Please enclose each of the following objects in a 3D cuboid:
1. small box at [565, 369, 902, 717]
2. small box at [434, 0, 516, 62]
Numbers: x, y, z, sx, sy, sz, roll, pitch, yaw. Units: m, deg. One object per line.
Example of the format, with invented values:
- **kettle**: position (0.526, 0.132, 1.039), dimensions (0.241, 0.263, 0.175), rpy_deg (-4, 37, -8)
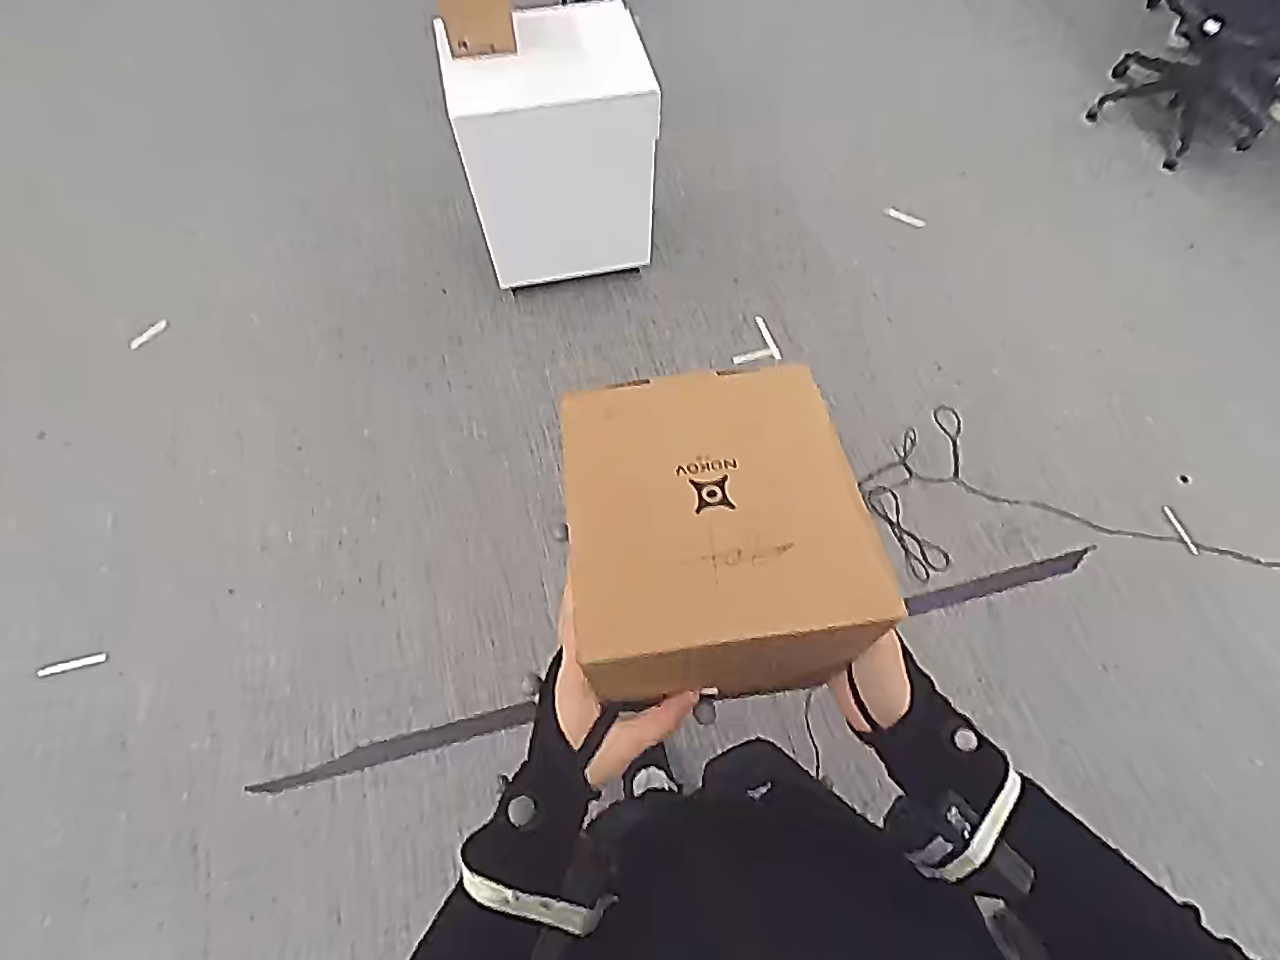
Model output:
- **small box**: position (0.041, 0.050, 0.375), dimensions (0.168, 0.176, 0.179), rpy_deg (-7, 58, -2)
- **small box**: position (-0.406, -1.158, 1.322), dimensions (0.168, 0.176, 0.179), rpy_deg (-11, 67, -7)
